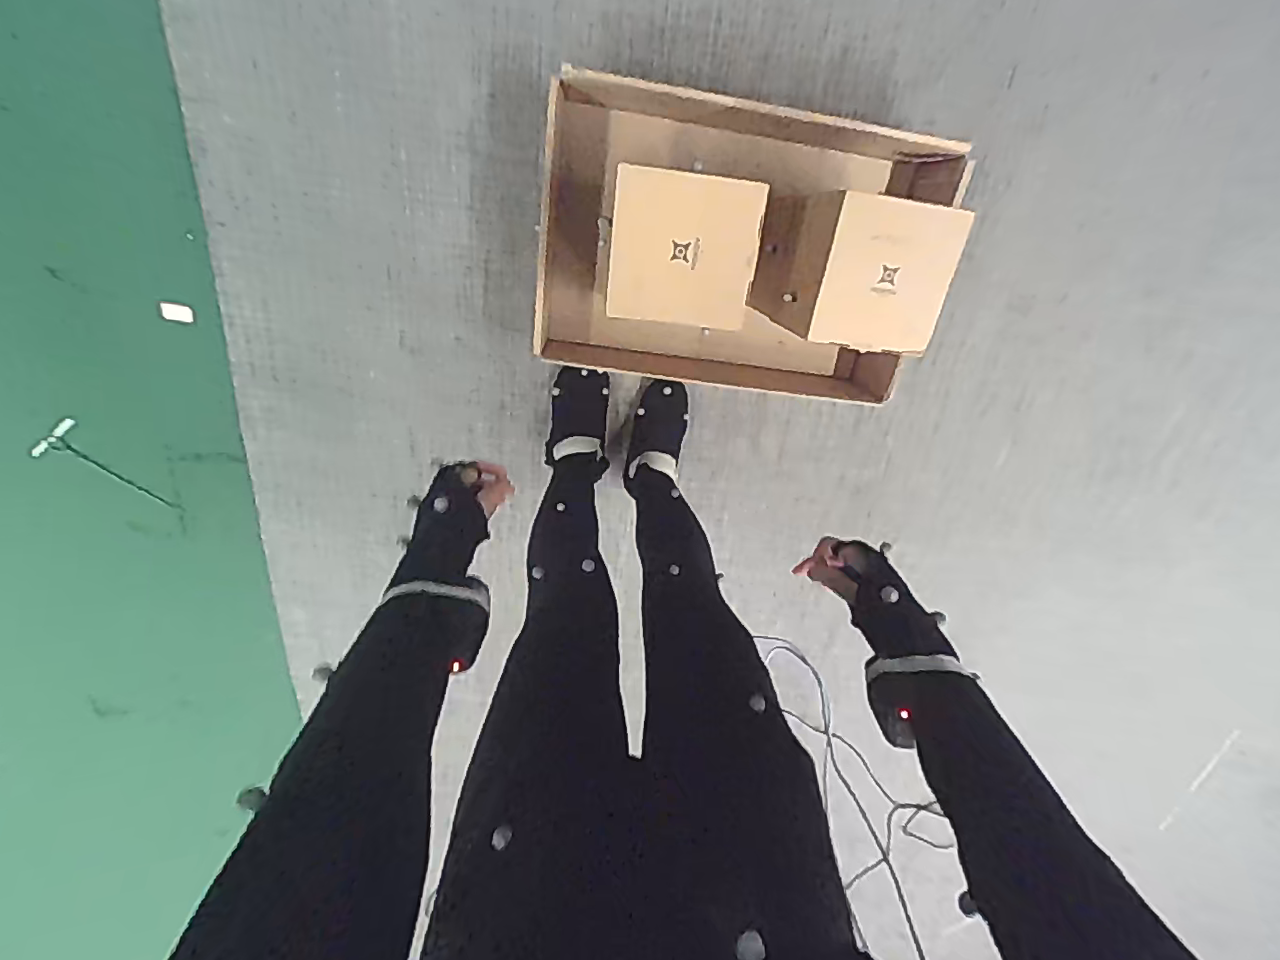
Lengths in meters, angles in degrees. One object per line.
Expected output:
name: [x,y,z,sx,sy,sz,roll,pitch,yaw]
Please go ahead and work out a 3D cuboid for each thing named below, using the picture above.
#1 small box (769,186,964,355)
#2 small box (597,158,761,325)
small box: [0.289,-0.287,0.740,0.168,0.176,0.179,6,115,-8]
small box: [0.037,-0.308,0.709,0.179,0.176,0.168,4,115,-8]
